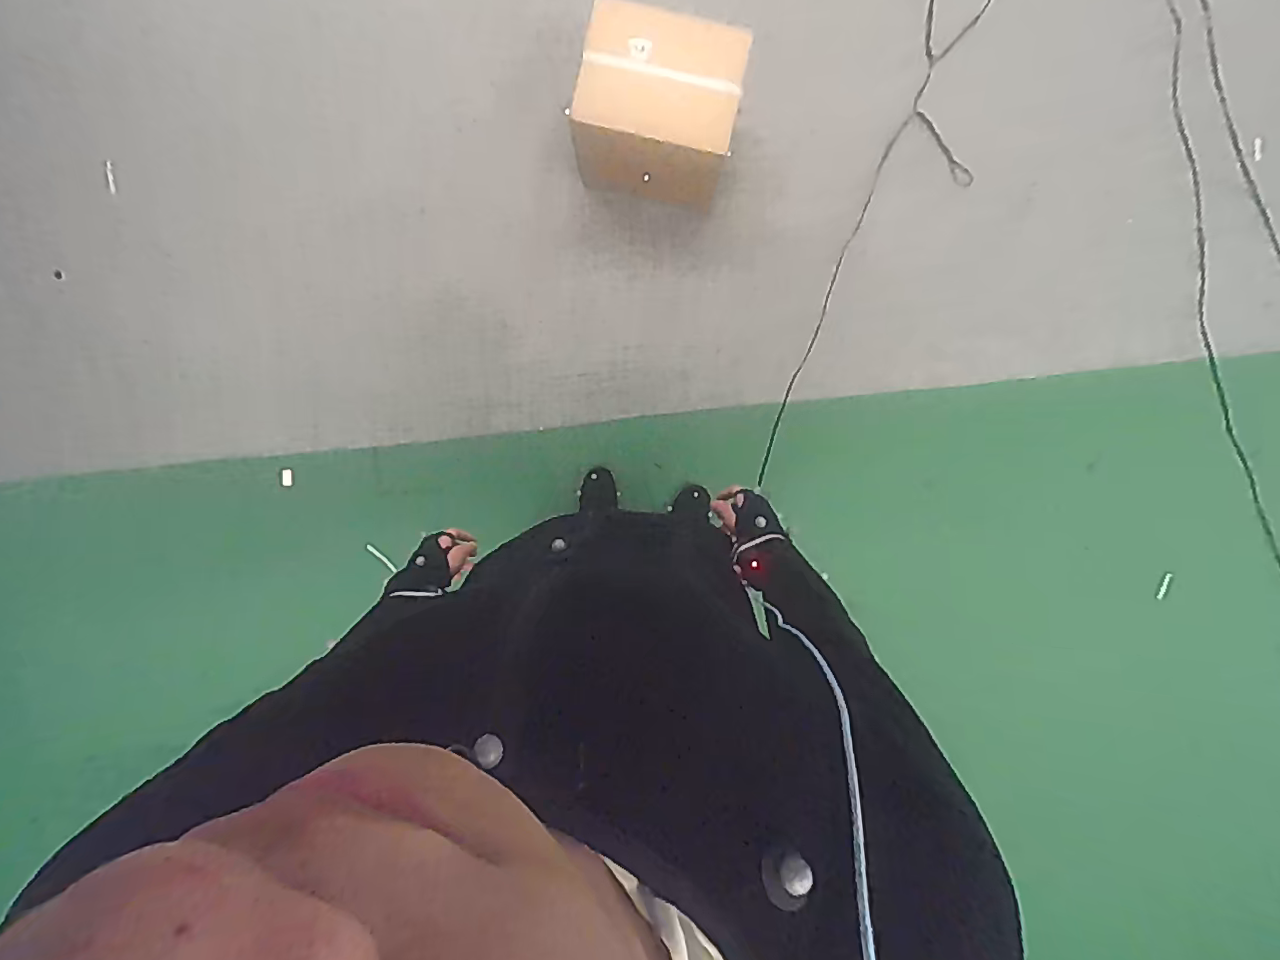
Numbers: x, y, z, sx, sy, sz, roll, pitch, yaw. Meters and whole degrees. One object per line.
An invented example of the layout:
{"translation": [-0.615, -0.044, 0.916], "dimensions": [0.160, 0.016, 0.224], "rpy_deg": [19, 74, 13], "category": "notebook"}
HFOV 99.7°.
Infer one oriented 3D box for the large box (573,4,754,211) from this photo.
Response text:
{"translation": [0.062, -0.992, 1.484], "dimensions": [0.408, 0.320, 0.320], "rpy_deg": [13, 91, 1], "category": "large box"}
